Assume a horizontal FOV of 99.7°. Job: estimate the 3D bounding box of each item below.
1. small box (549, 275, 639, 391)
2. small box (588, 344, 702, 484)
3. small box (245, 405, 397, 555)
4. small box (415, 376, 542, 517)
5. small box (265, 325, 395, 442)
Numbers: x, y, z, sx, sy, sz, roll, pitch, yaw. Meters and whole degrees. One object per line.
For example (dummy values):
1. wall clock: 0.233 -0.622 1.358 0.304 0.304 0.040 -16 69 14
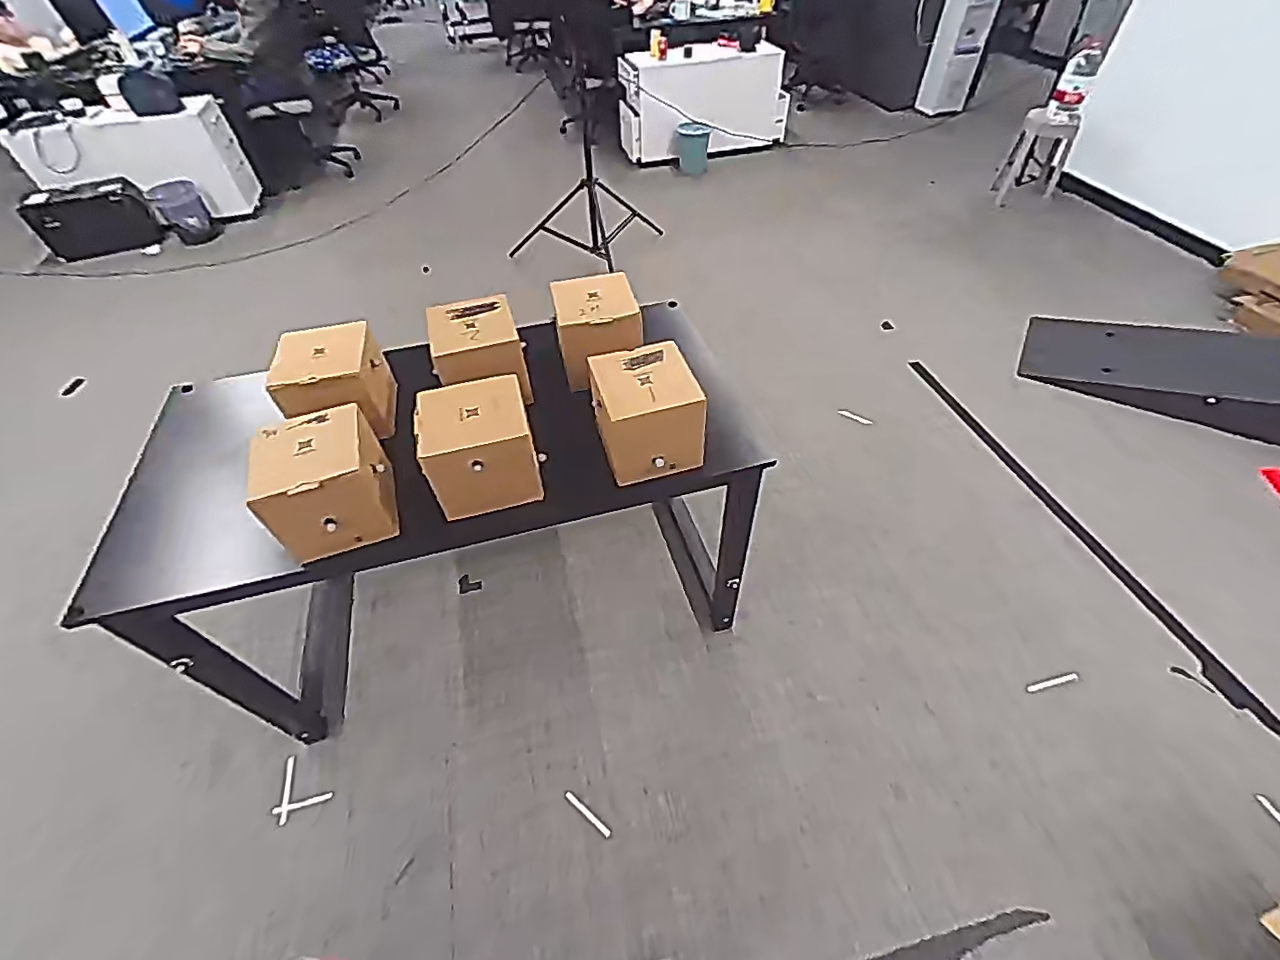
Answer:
1. small box: -0.099 -0.321 1.184 0.168 0.176 0.179 -12 49 -7
2. small box: 0.006 -0.121 1.002 0.168 0.176 0.179 -14 50 -9
3. small box: -0.529 0.007 0.917 0.168 0.176 0.179 -18 51 -12
4. small box: -0.284 -0.056 0.963 0.179 0.176 0.168 -13 50 -10
5. small box: -0.609 -0.185 1.091 0.168 0.176 0.179 -12 50 -8
